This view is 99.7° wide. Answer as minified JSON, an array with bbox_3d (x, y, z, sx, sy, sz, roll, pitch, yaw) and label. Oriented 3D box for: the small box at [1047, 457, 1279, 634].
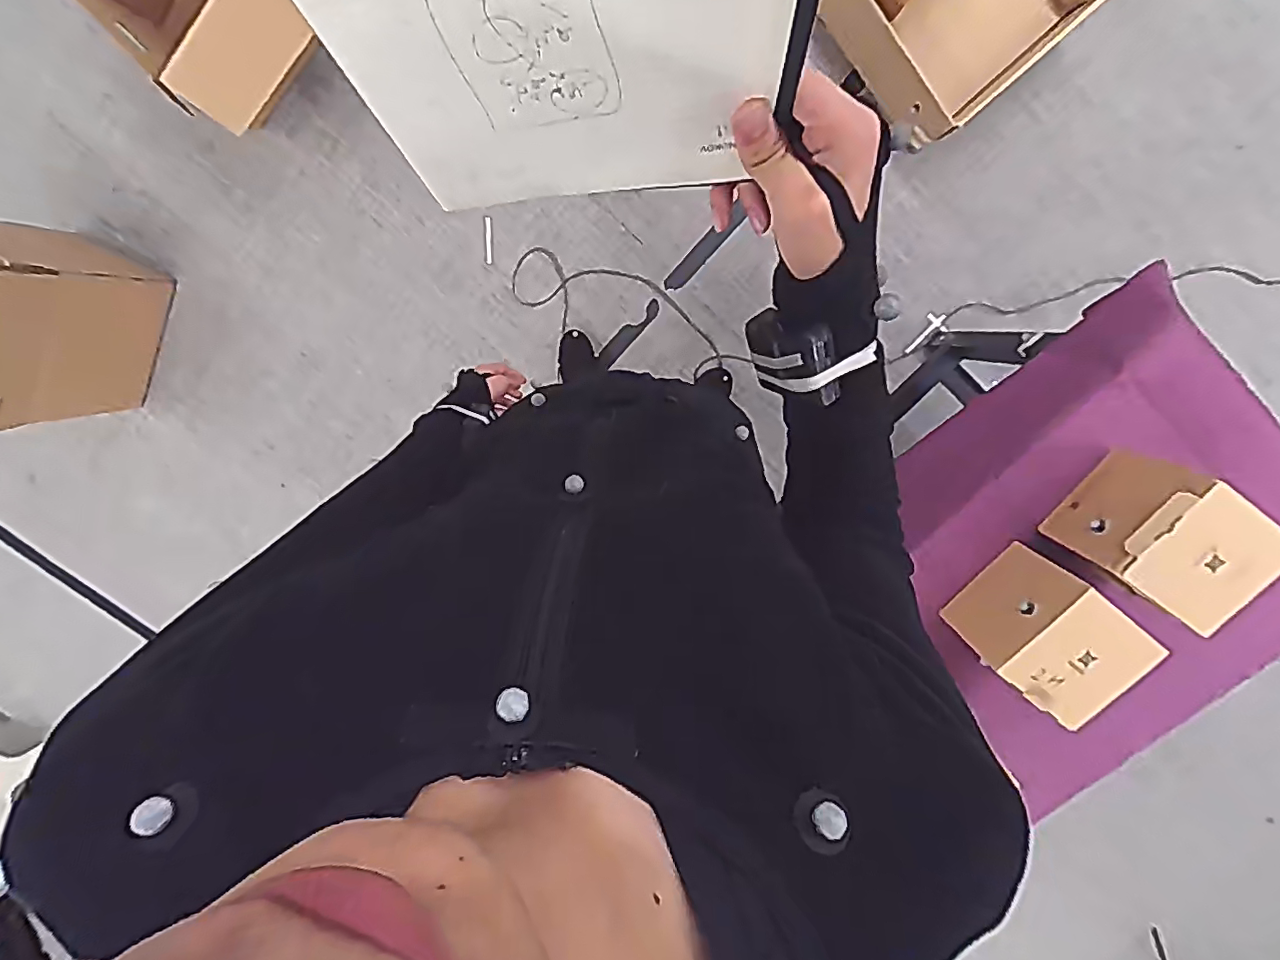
[{"bbox_3d":[0.763,0.082,0.793,0.179,0.176,0.168,34,105,-8],"label":"small box"}]
